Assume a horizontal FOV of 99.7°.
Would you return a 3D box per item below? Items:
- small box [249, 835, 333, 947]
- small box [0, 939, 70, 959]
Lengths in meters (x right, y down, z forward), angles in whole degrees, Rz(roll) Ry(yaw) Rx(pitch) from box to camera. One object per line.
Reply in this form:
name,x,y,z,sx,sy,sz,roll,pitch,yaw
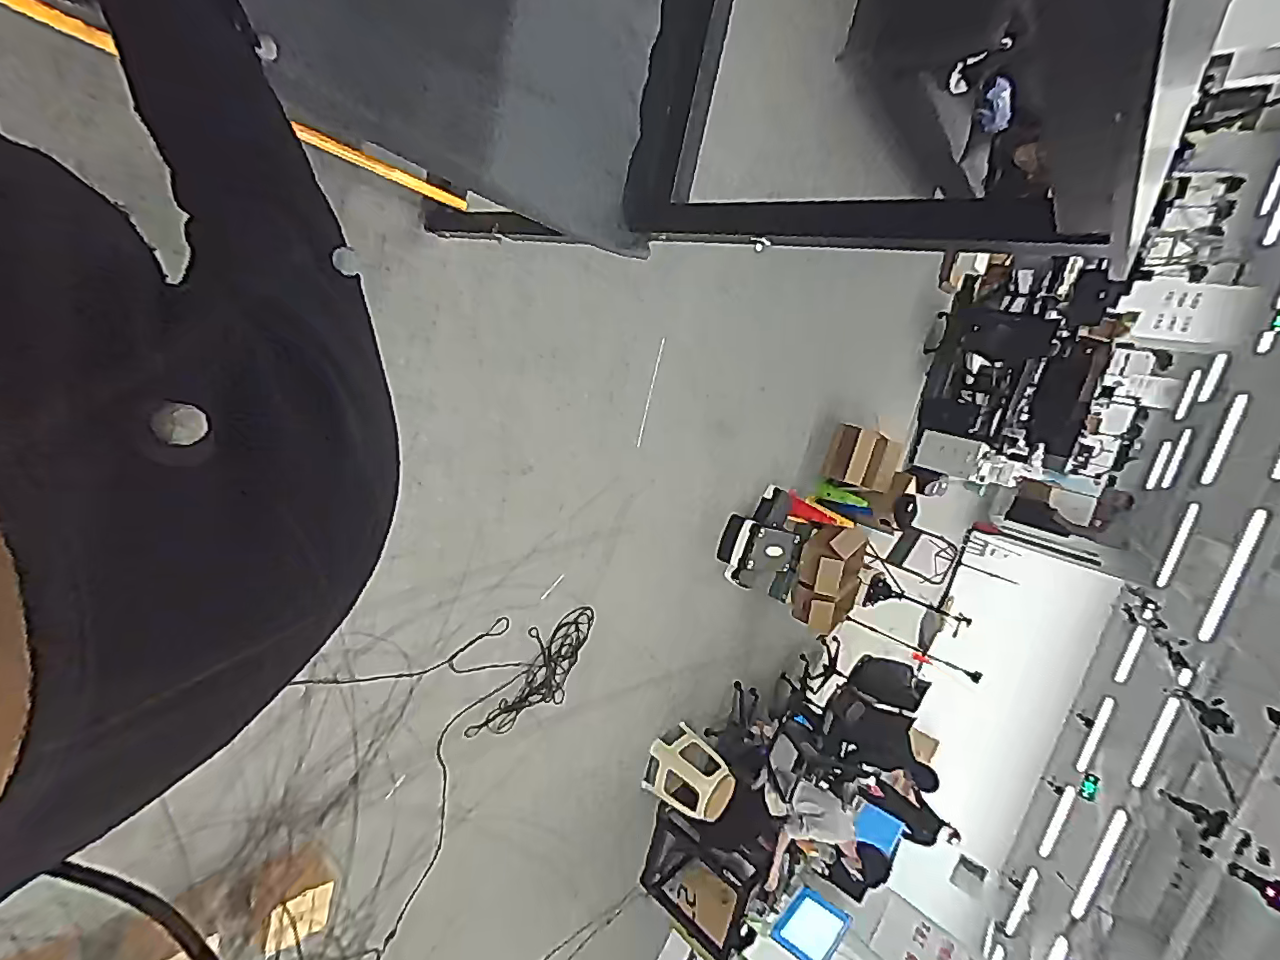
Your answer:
small box,-1.071,1.246,1.653,0.168,0.176,0.179,2,105,-51
small box,-1.413,1.184,1.200,0.179,0.176,0.168,25,87,-51
